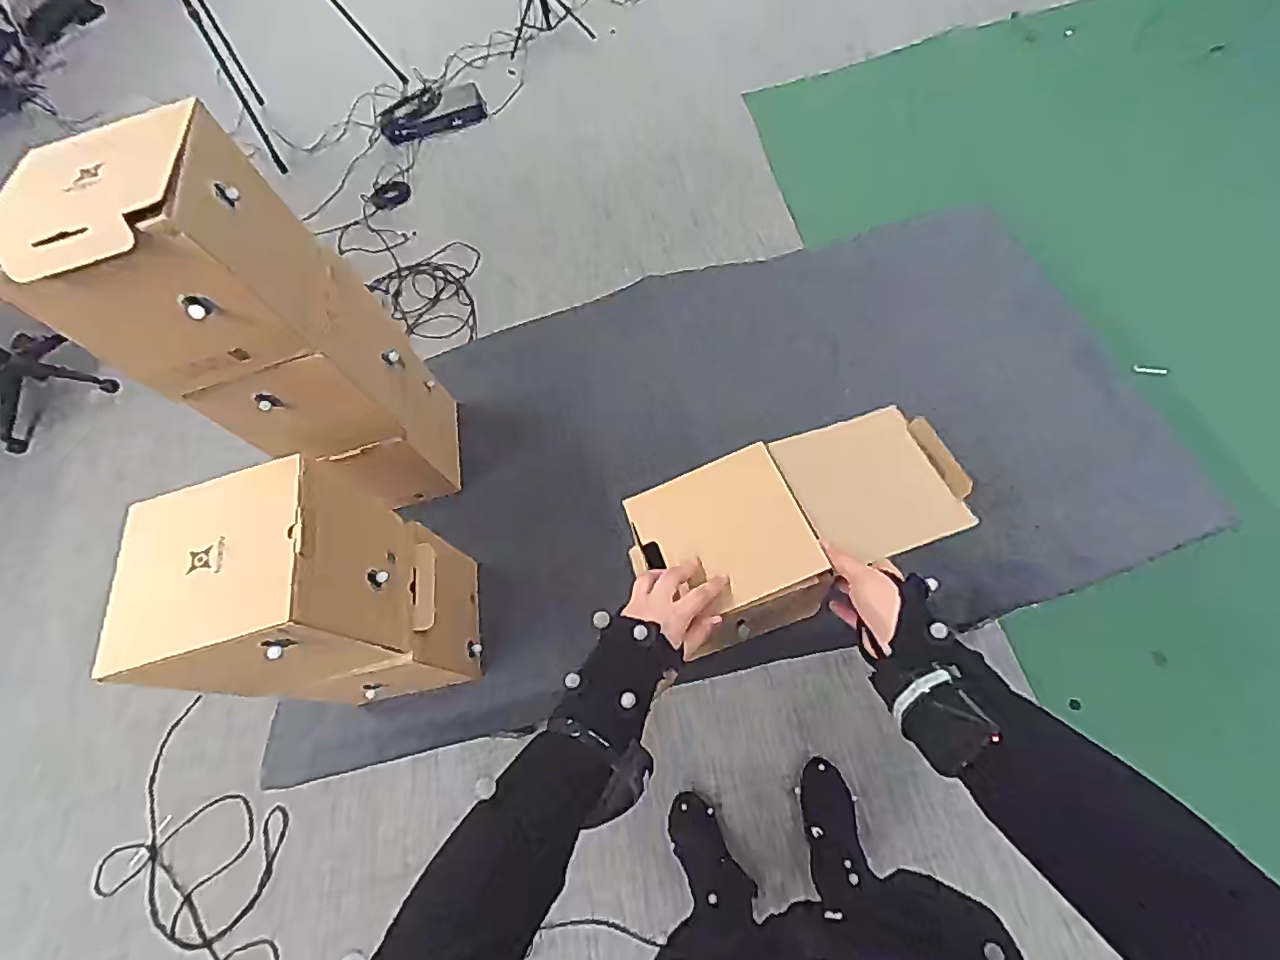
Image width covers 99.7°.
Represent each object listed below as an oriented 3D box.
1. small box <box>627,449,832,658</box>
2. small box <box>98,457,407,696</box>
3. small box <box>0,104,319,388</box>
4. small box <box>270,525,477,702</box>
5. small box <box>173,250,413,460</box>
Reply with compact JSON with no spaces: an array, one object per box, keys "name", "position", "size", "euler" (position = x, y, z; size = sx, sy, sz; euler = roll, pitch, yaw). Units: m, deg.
[{"name":"small box","position":[0.103,0.097,0.641],"size":[0.179,0.176,0.168],"euler":[-21,62,1]},{"name":"small box","position":[-0.360,0.106,0.541],"size":[0.179,0.176,0.168],"euler":[-17,62,2]},{"name":"small box","position":[-0.442,-0.211,0.525],"size":[0.168,0.176,0.179],"euler":[-17,62,1]},{"name":"small box","position":[-0.317,0.175,0.682],"size":[0.179,0.176,0.168],"euler":[-13,63,5]},{"name":"small box","position":[-0.408,-0.143,0.669],"size":[0.179,0.176,0.168],"euler":[-14,63,4]}]
